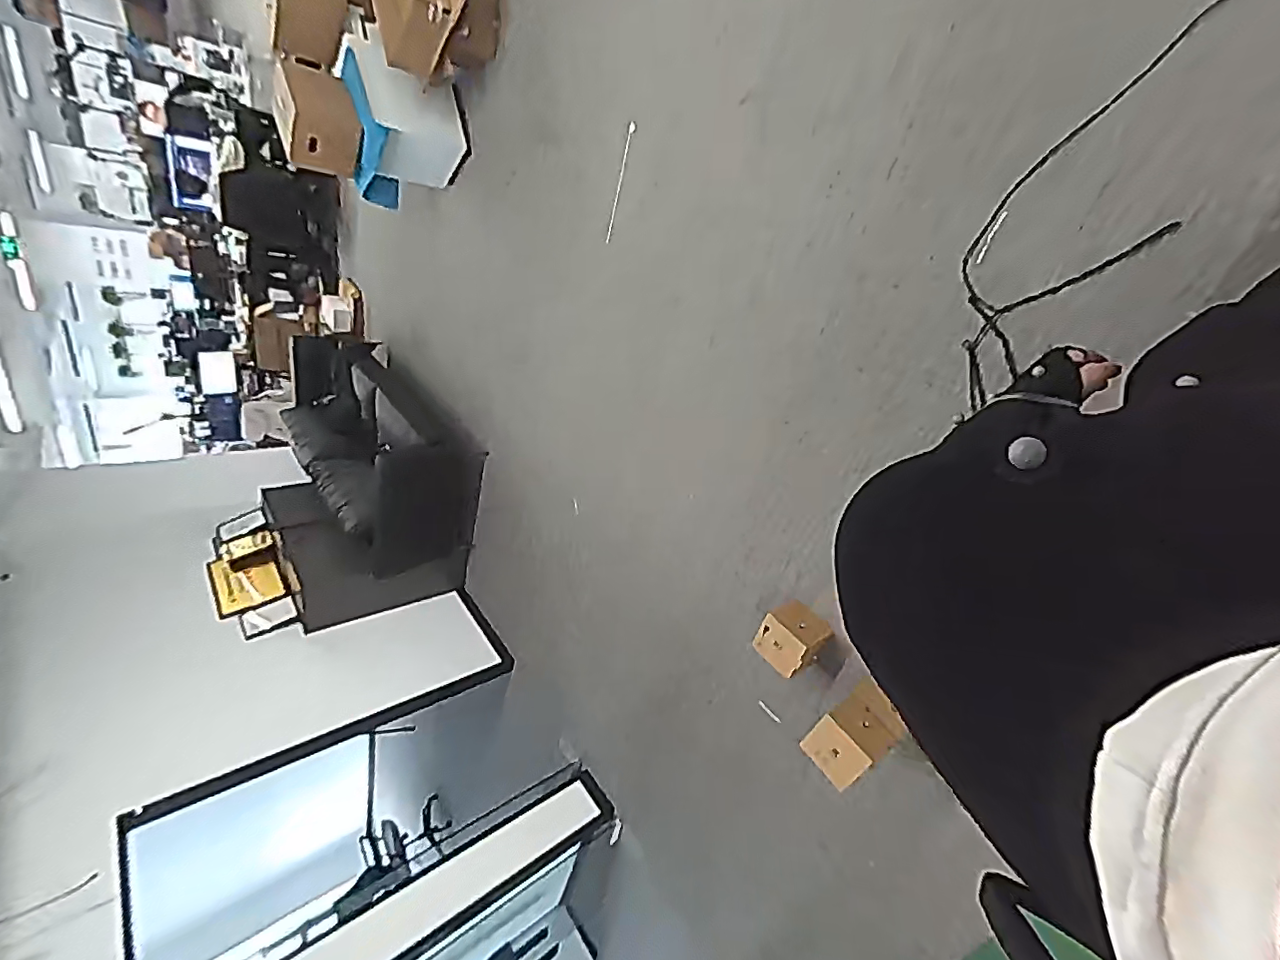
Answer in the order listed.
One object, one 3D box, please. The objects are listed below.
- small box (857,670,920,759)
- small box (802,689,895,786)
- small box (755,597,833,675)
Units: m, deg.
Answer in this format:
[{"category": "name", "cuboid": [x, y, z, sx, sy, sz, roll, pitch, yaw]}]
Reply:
[{"category": "small box", "cuboid": [0.752, 0.736, 1.711, 0.168, 0.176, 0.179, 45, 130, 34]}, {"category": "small box", "cuboid": [0.625, 0.757, 1.607, 0.168, 0.176, 0.179, 47, 131, 33]}, {"category": "small box", "cuboid": [0.545, 0.542, 1.904, 0.179, 0.176, 0.168, 41, 126, 35]}]
